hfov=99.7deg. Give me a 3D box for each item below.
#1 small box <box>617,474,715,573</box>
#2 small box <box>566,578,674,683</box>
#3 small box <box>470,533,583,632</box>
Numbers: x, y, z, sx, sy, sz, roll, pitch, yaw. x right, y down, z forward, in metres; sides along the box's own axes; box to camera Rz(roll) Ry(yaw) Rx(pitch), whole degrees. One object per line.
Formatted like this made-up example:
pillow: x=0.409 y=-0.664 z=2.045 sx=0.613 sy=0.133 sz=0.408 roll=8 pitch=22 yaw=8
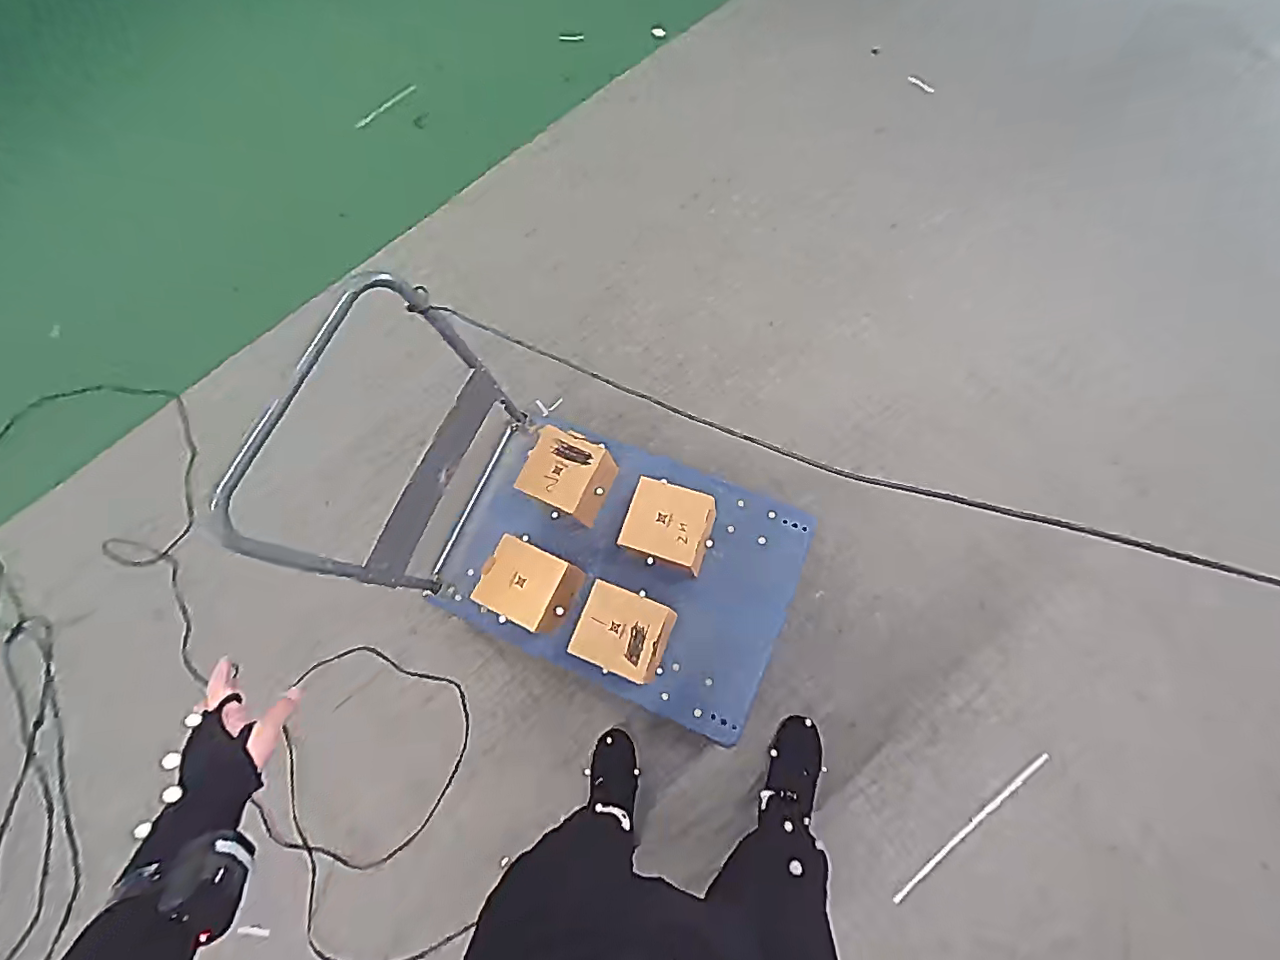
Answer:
small box: x=0.067 y=0.108 z=1.260 sx=0.179 sy=0.176 sz=0.168 roll=17 pitch=76 yaw=14
small box: x=-0.034 y=0.334 z=1.200 sx=0.179 sy=0.176 sz=0.168 roll=19 pitch=75 yaw=15
small box: x=-0.256 y=0.244 z=1.269 sx=0.179 sy=0.176 sz=0.168 roll=22 pitch=77 yaw=16
